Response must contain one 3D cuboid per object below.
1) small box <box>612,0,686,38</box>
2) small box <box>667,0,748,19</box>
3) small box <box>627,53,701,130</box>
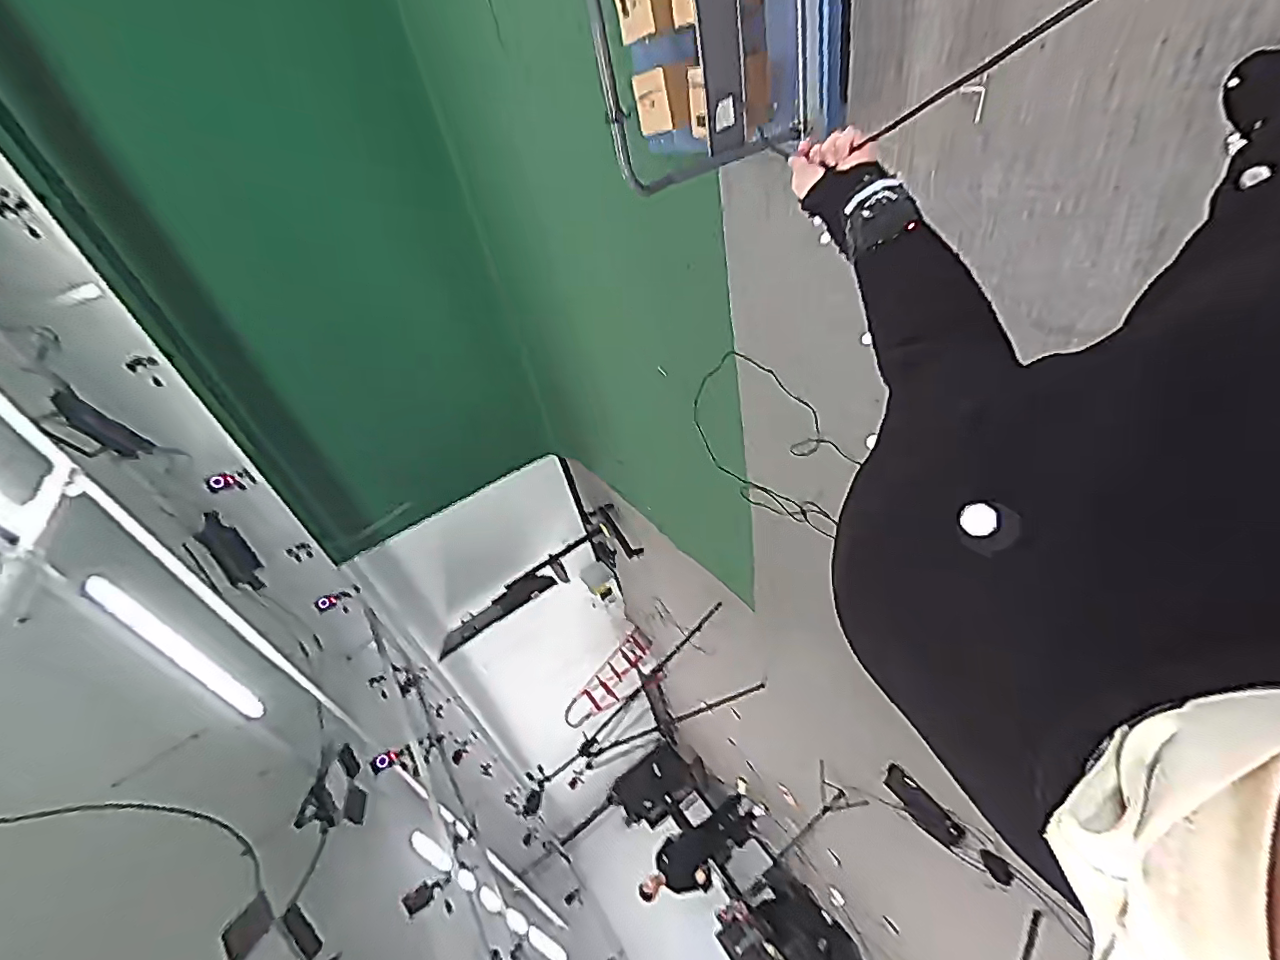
[{"bbox_3d":[0.028,-1.479,1.643,0.179,0.176,0.168,32,147,47],"label":"small box"},{"bbox_3d":[0.184,-1.368,1.453,0.179,0.176,0.168,35,149,44],"label":"small box"},{"bbox_3d":[0.088,-1.279,1.783,0.179,0.176,0.168,33,147,48],"label":"small box"}]
